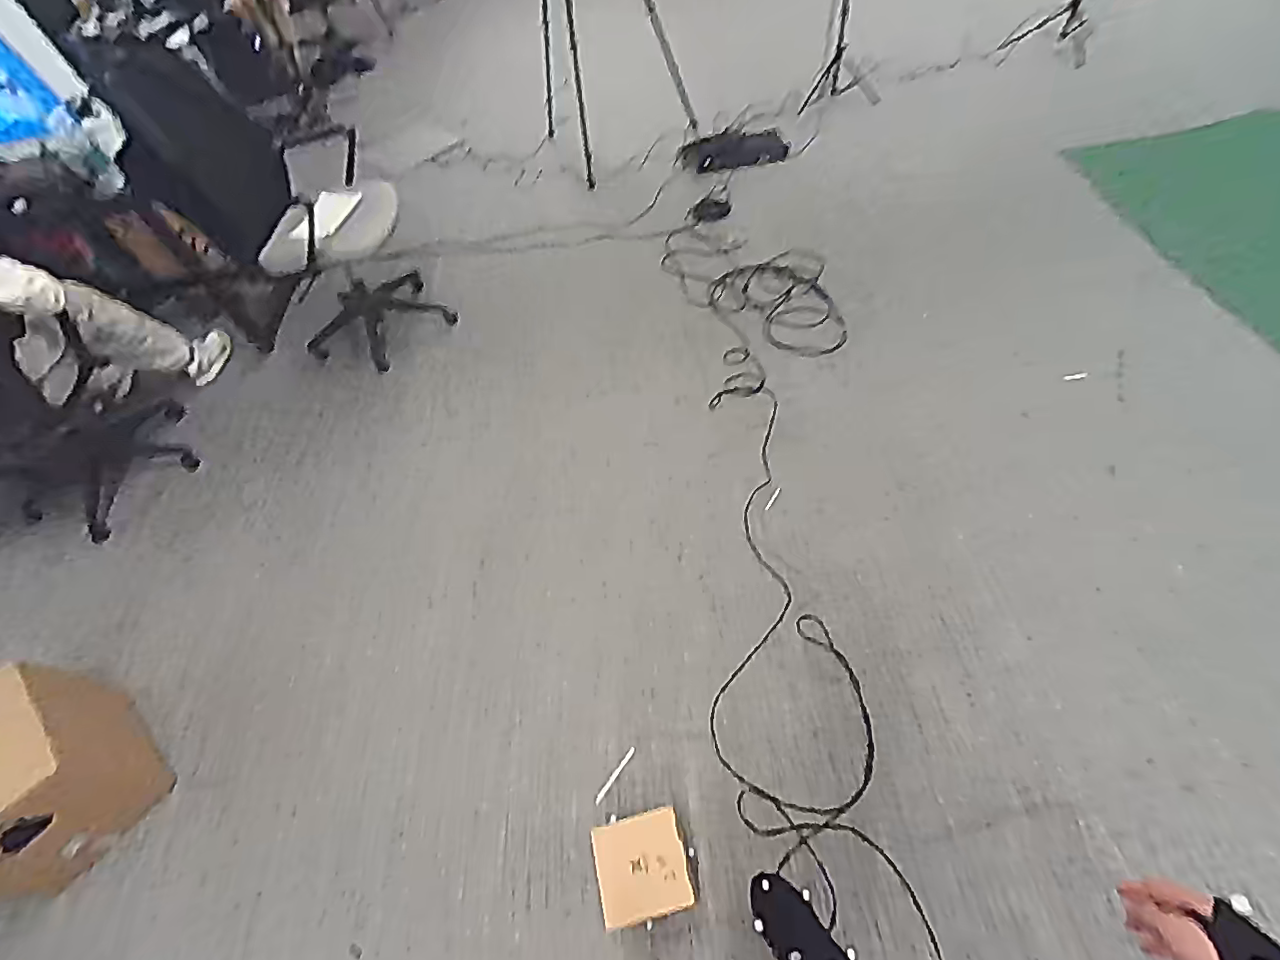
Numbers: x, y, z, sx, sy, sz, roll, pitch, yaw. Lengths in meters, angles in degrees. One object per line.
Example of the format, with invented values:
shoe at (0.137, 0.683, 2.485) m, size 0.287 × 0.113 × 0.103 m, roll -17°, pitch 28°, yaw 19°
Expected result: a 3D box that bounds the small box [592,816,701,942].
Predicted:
small box at (0.016, 0.809, 1.100) m, size 0.179 × 0.176 × 0.168 m, roll -16°, pitch 53°, yaw -2°
